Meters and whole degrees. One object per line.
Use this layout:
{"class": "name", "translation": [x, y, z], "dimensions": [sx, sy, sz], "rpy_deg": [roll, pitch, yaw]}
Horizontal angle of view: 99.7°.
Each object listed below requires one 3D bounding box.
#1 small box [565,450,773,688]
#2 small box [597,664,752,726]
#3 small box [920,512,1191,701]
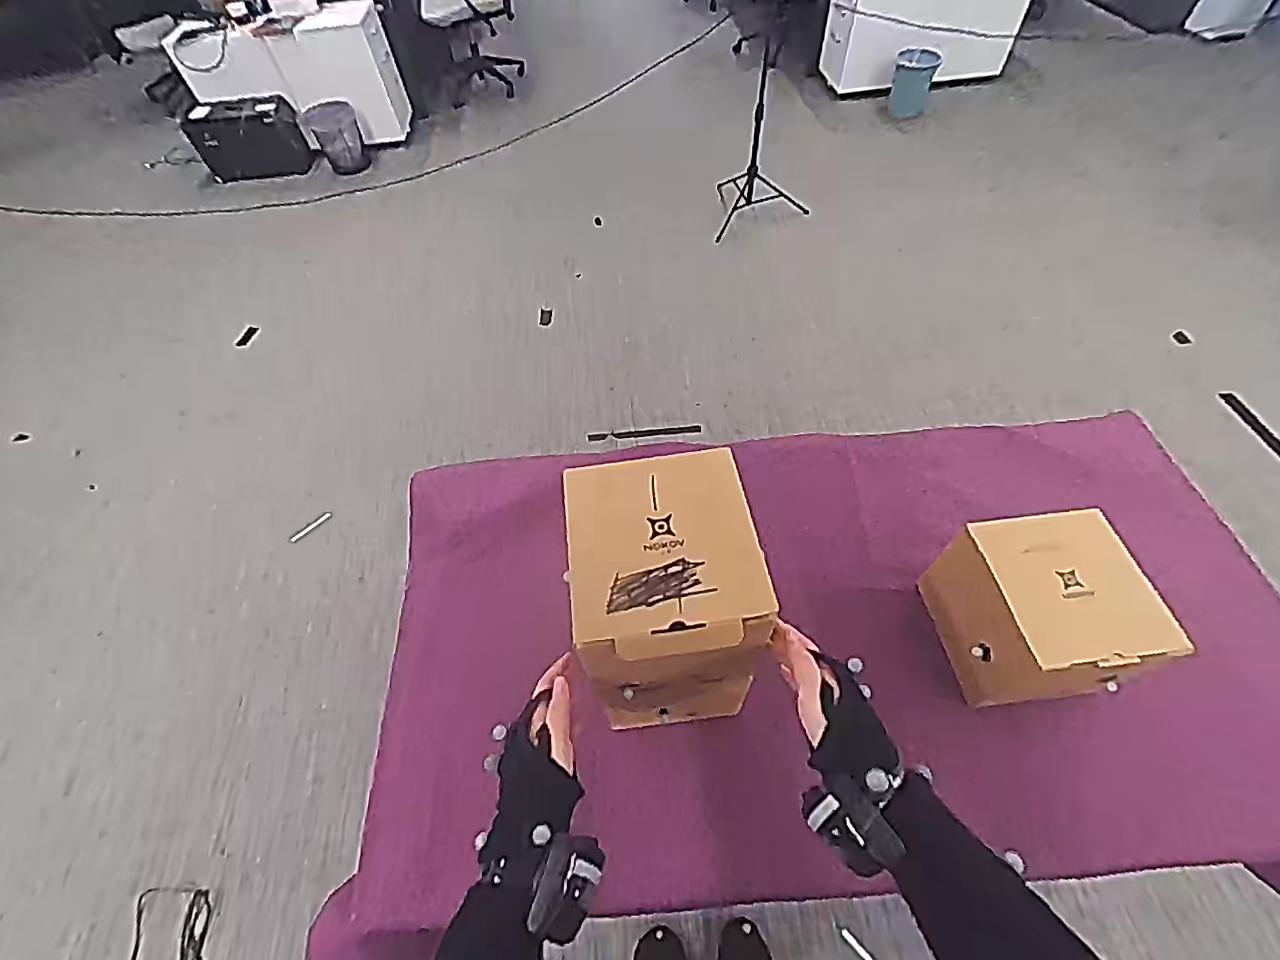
{"class": "small box", "translation": [0.022, 0.097, 0.541], "dimensions": [0.168, 0.176, 0.179], "rpy_deg": [-8, 55, -2]}
{"class": "small box", "translation": [0.032, 0.191, 0.675], "dimensions": [0.168, 0.176, 0.179], "rpy_deg": [-7, 56, -1]}
{"class": "small box", "translation": [0.480, 0.162, 0.663], "dimensions": [0.168, 0.176, 0.179], "rpy_deg": [-6, 55, -1]}
